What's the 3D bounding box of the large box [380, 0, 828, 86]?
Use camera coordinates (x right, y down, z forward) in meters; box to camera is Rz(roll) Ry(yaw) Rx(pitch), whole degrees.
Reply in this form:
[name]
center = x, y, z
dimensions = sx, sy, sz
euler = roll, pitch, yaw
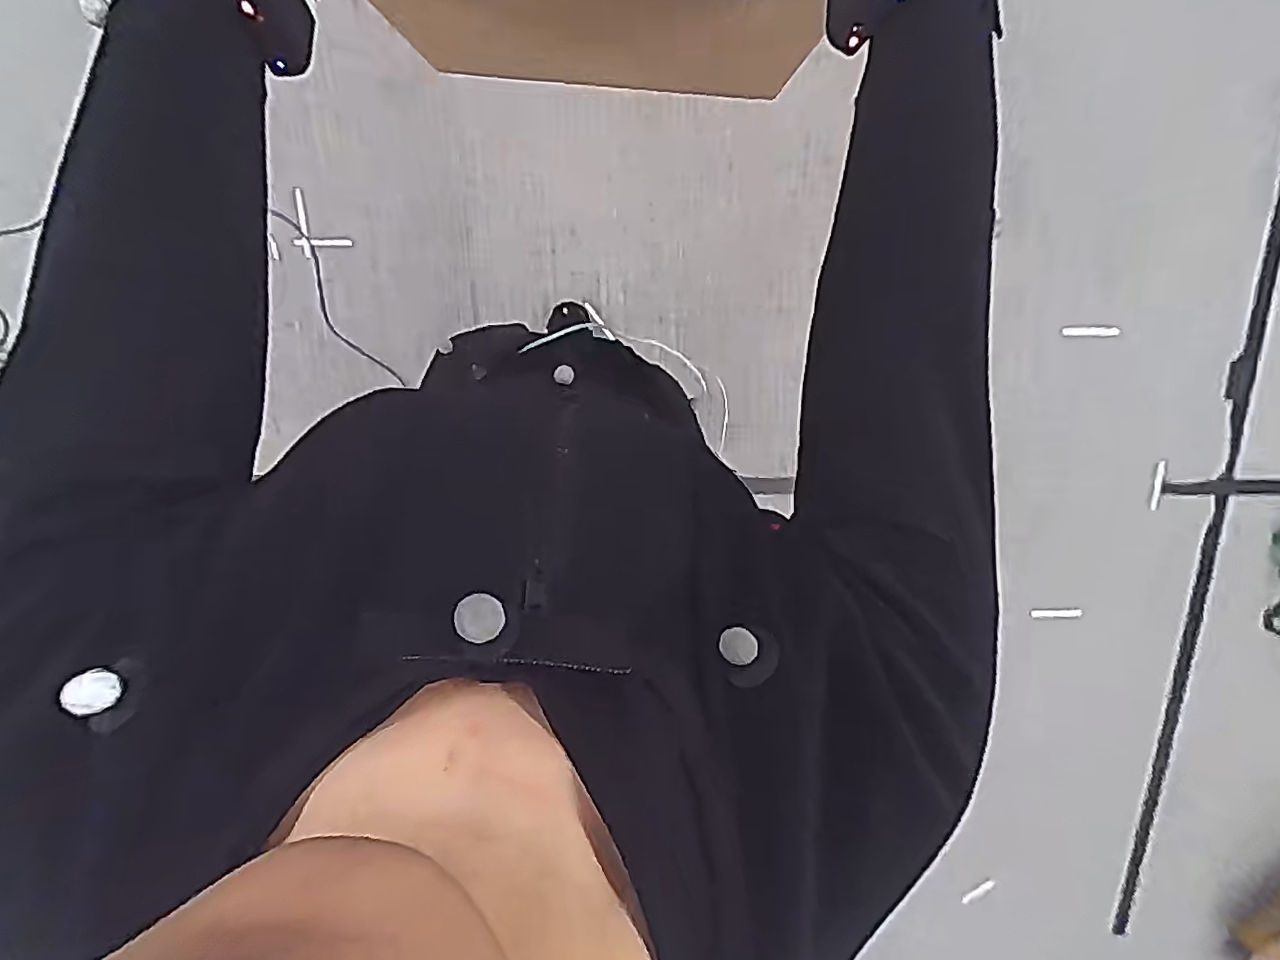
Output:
[large box]
center = -0.033, -0.566, 0.450
dimensions = 0.408, 0.320, 0.320
euler = 3, 111, -2
